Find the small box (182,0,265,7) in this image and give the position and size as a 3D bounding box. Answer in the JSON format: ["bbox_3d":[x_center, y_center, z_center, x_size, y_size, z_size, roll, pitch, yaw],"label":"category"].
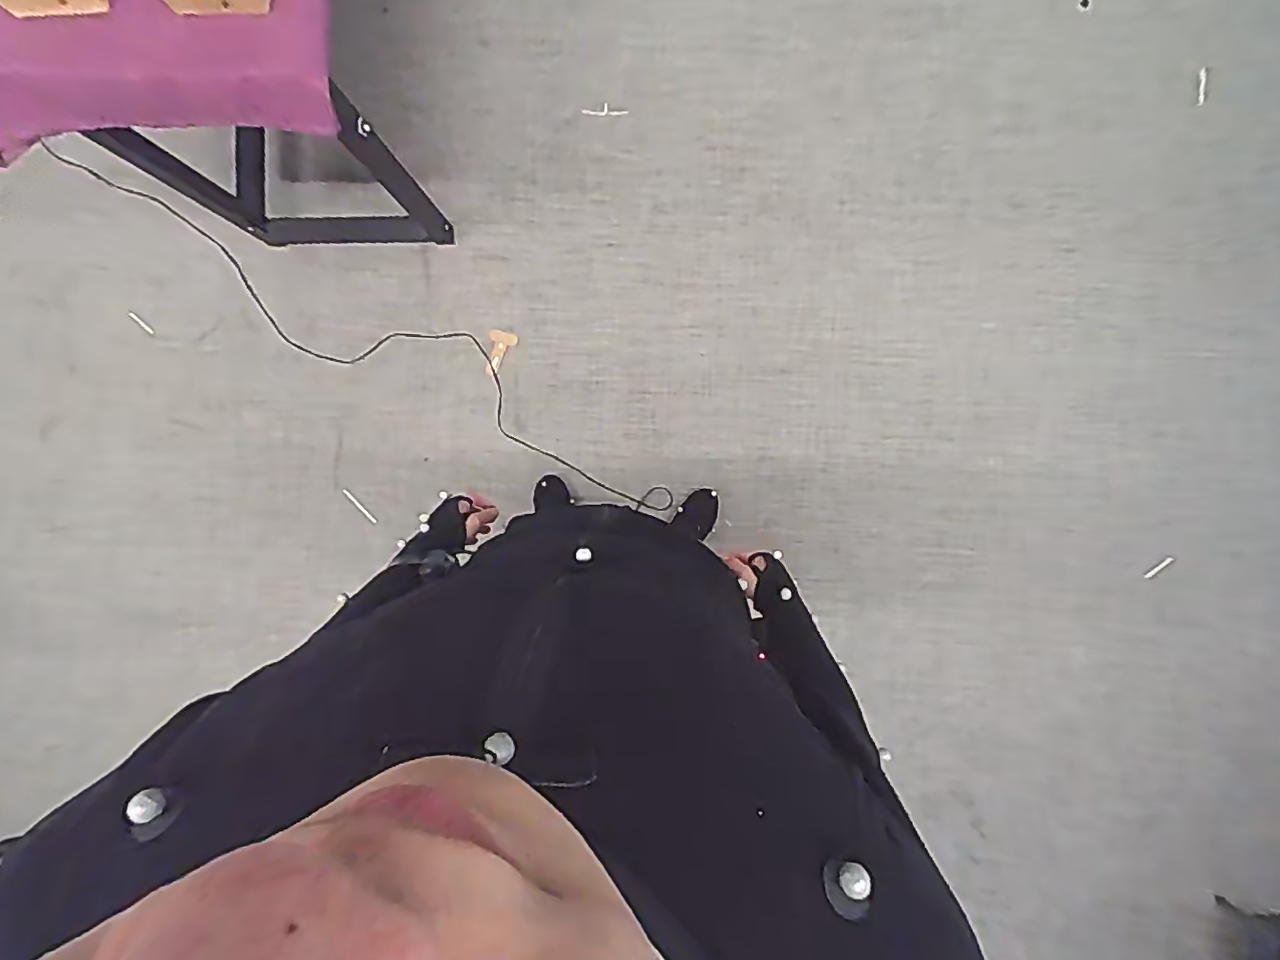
[{"bbox_3d":[-0.698,-0.870,0.821,0.168,0.176,0.179,3,91,2],"label":"small box"}]

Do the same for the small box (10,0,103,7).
[{"bbox_3d":[-0.982,-0.877,0.833,0.168,0.176,0.179,-3,90,1],"label":"small box"}]
